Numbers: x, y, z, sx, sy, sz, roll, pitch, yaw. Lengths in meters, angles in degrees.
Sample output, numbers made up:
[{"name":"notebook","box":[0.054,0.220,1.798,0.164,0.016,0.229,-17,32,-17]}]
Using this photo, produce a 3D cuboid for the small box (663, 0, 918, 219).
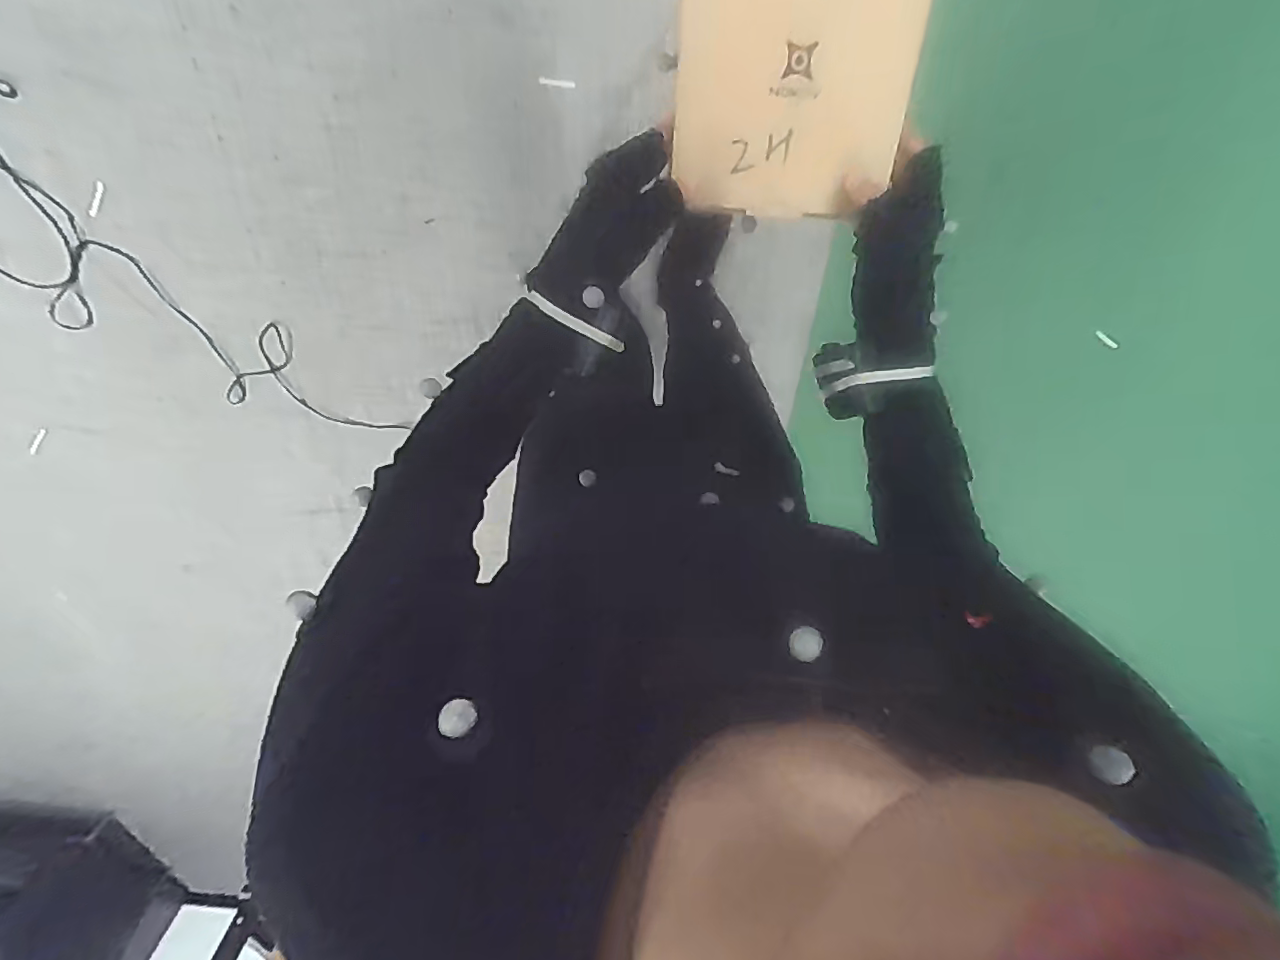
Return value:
[{"name":"small box","box":[0.109,-0.328,0.466,0.168,0.176,0.179,4,116,0]}]
